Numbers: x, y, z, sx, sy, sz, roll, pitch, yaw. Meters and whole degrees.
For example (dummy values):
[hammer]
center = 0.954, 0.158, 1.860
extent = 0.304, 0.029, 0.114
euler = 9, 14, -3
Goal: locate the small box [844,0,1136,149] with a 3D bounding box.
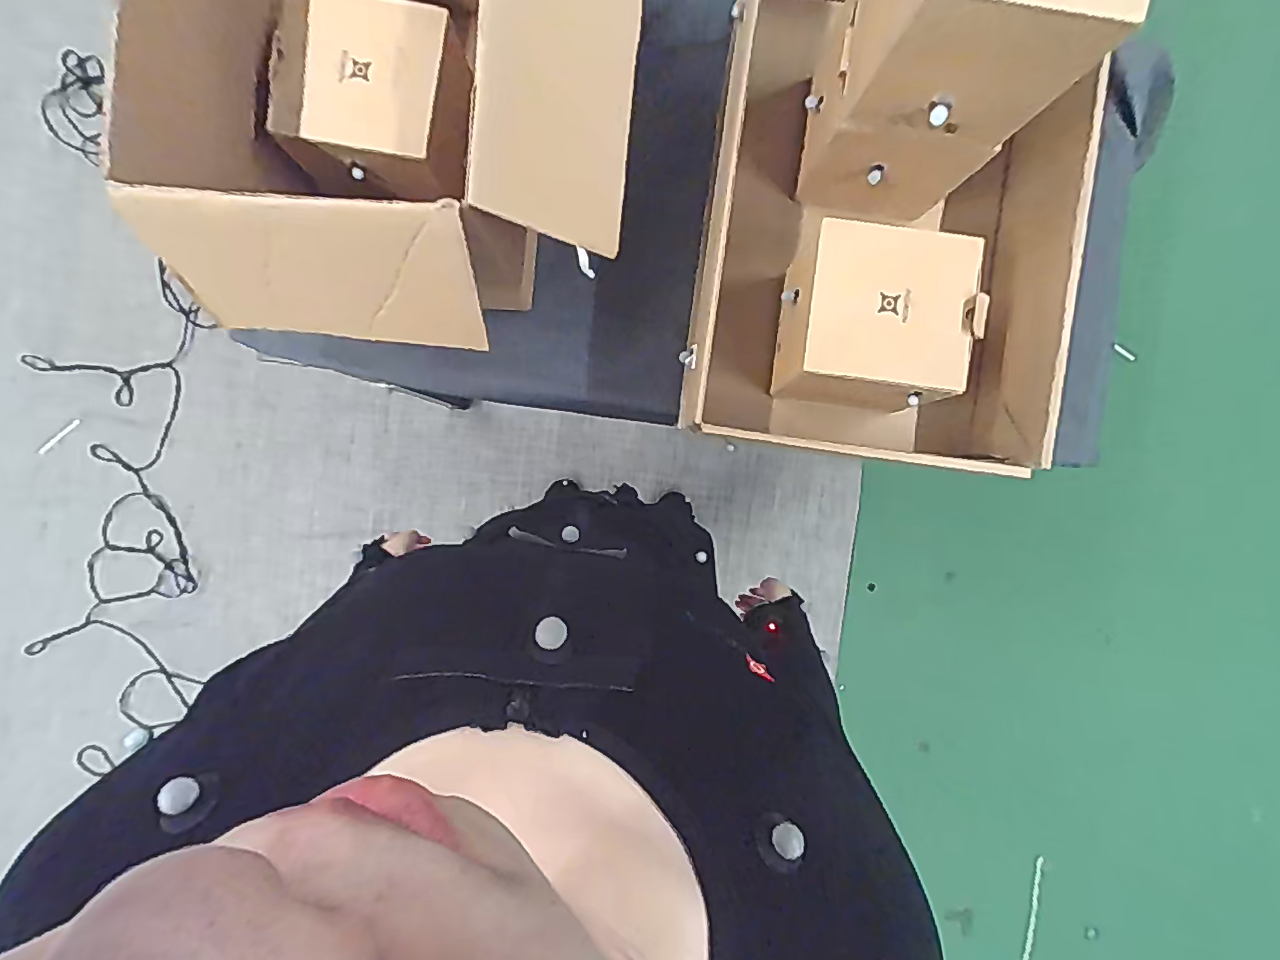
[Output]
[small box]
center = 0.303, -0.441, 0.485
extent = 0.168, 0.176, 0.179
euler = 9, 94, -2
